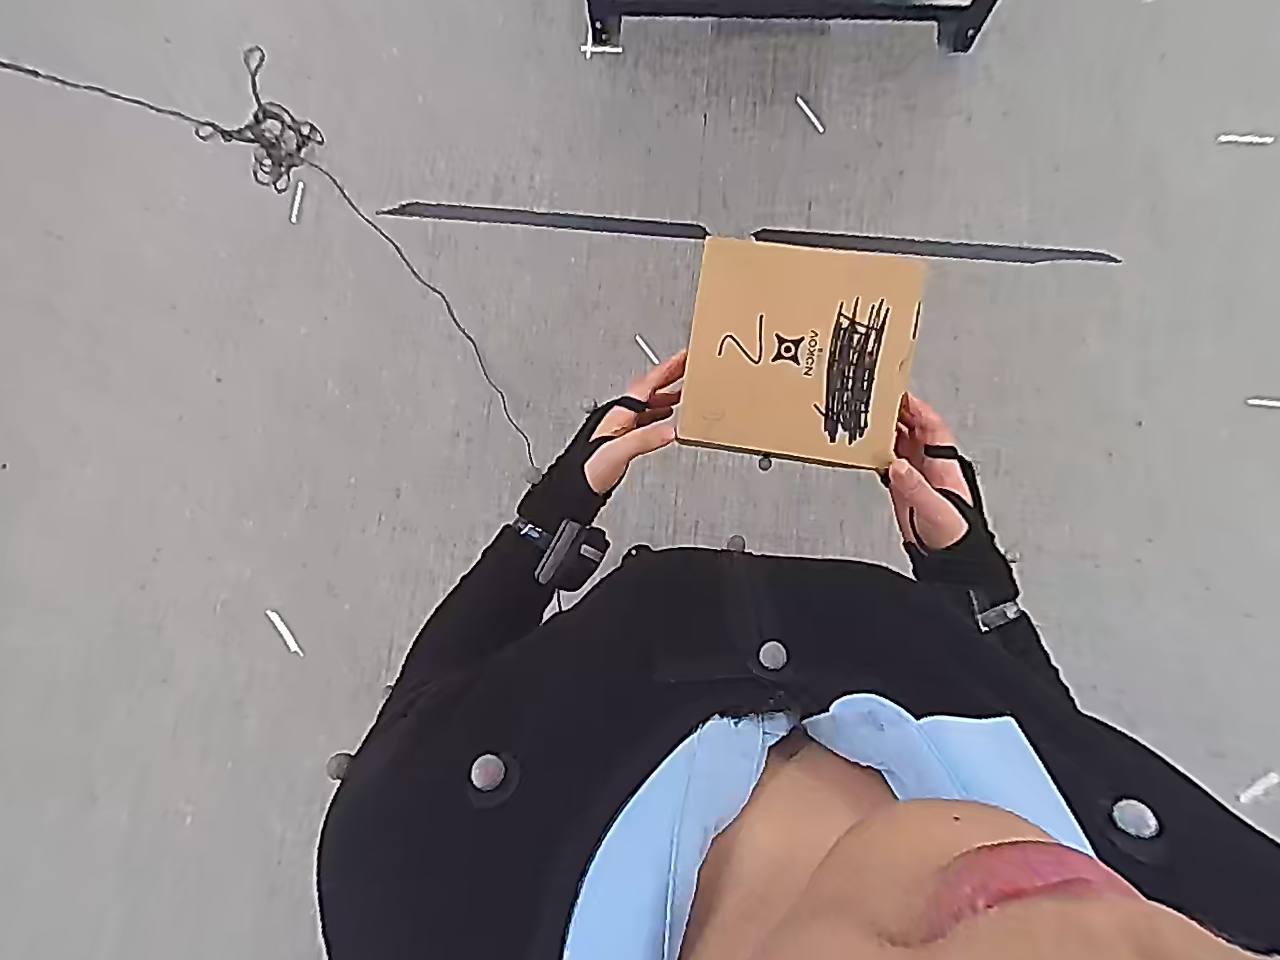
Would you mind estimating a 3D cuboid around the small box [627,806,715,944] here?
[{"bbox_3d":[0.068,0.846,1.175,0.168,0.176,0.179,5,82,3],"label":"small box"}]

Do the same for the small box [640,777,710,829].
[{"bbox_3d":[0.080,0.860,1.337,0.168,0.176,0.179,3,83,3],"label":"small box"}]
